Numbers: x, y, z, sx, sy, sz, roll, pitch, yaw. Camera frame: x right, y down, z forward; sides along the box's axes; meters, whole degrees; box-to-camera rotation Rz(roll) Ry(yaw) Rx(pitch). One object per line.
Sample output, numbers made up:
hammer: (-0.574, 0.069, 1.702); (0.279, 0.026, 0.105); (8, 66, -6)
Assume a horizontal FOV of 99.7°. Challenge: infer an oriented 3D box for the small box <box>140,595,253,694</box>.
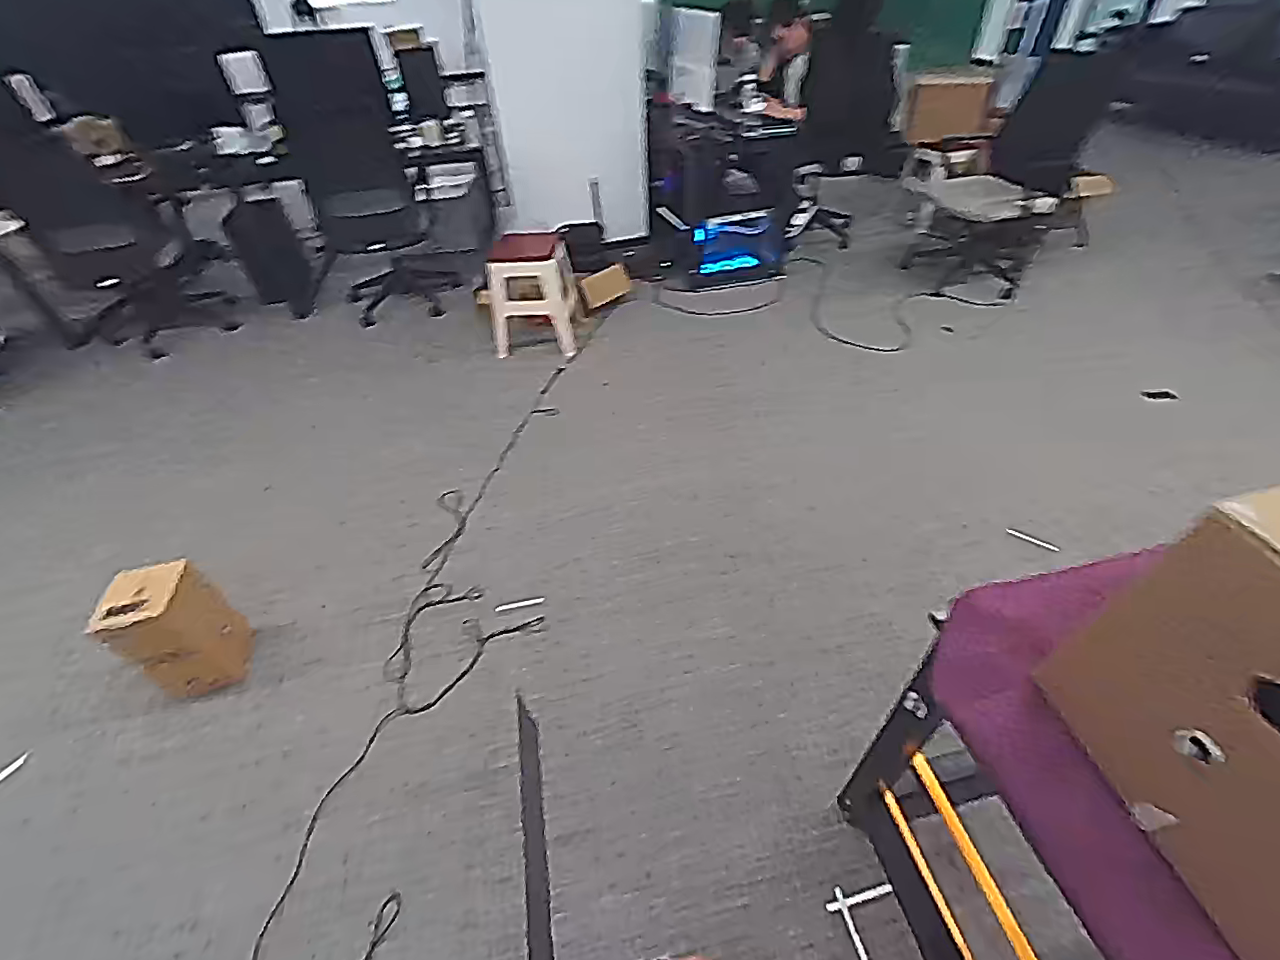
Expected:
small box: (-1.200, 0.452, 1.482); (0.168, 0.176, 0.179); (-15, 45, -12)
